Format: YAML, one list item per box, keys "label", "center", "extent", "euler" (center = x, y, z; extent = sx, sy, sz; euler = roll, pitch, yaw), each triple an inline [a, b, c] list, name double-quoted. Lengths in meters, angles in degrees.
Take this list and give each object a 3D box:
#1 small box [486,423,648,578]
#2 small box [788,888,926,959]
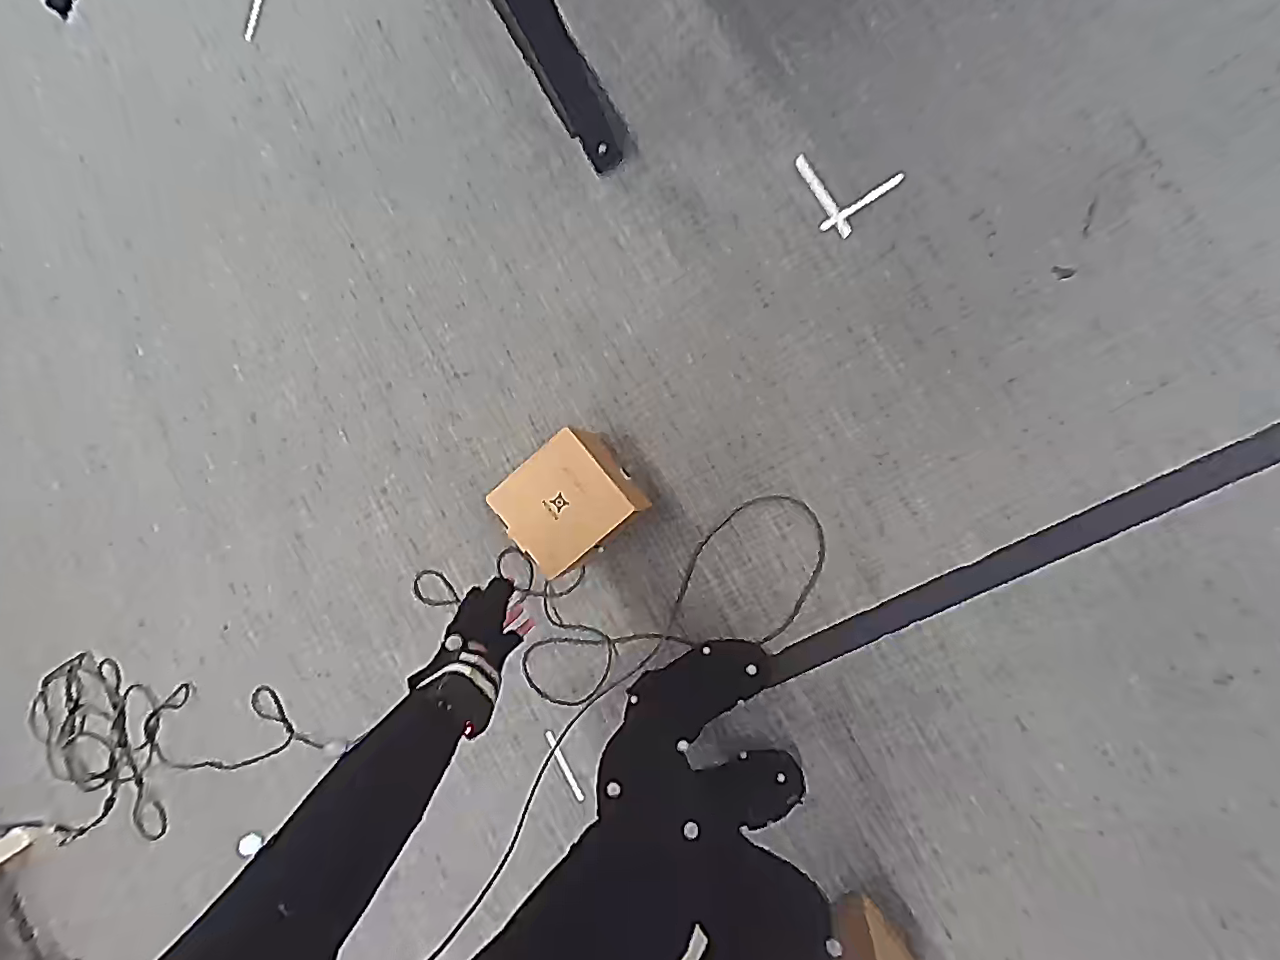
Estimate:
- label: "small box"
  center: [-0.107, 0.031, 0.882]
  extent: [0.179, 0.176, 0.168]
  euler: [-42, 84, 8]
- label: "small box"
  center: [0.336, 0.775, 0.807]
  extent: [0.179, 0.176, 0.168]
  euler: [-40, 83, 11]
